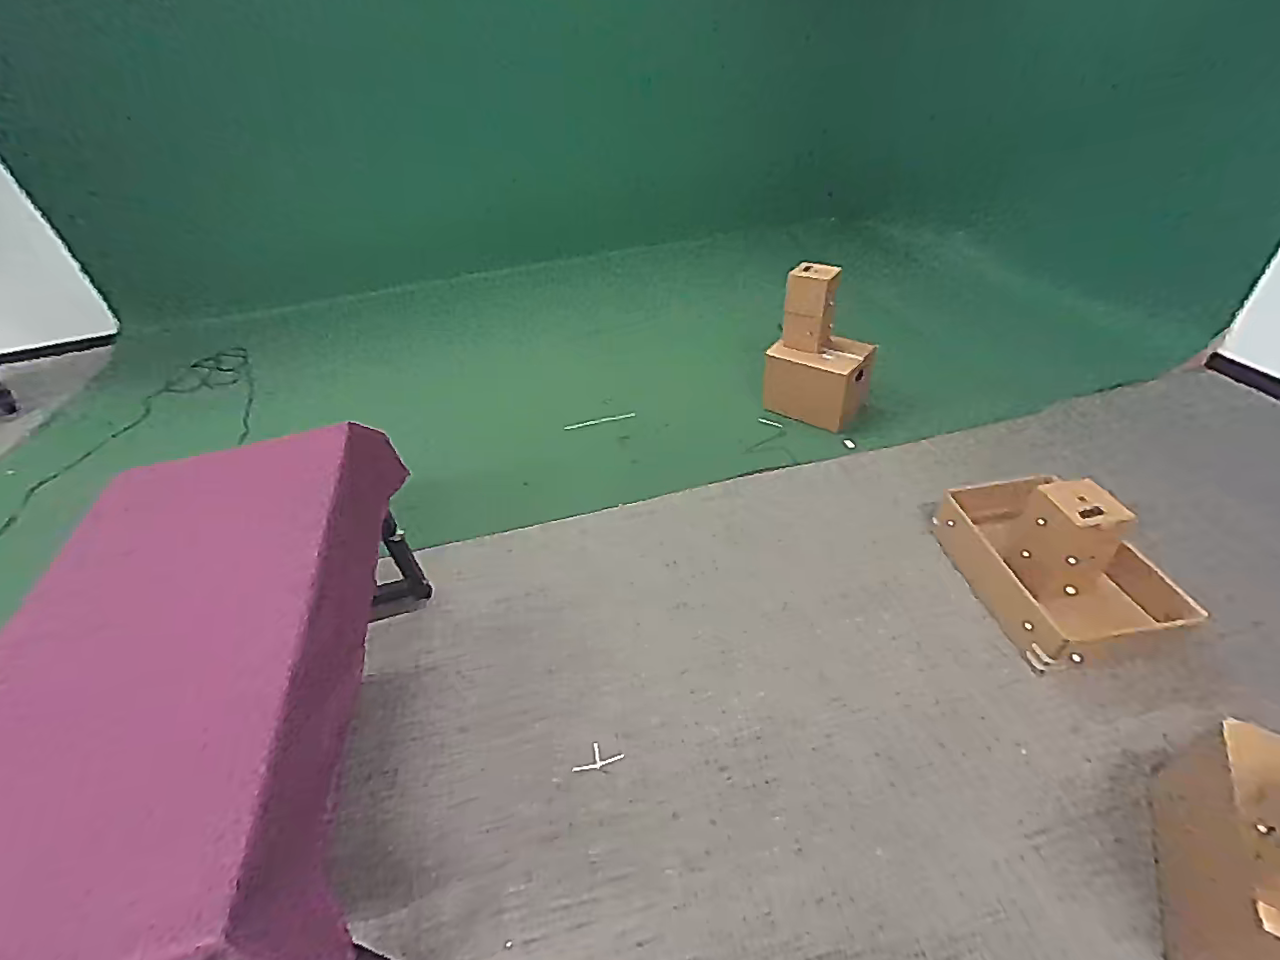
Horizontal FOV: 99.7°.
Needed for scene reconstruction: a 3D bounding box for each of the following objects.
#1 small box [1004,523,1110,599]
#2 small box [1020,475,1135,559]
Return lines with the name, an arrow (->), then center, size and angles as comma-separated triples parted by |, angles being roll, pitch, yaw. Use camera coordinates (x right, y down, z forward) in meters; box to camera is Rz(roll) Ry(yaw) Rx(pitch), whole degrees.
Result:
small box -> 1.279, 0.240, 1.677 | 0.168, 0.176, 0.179 | -10, 40, -1
small box -> 1.260, 0.114, 1.573 | 0.168, 0.176, 0.179 | -8, 39, -1
